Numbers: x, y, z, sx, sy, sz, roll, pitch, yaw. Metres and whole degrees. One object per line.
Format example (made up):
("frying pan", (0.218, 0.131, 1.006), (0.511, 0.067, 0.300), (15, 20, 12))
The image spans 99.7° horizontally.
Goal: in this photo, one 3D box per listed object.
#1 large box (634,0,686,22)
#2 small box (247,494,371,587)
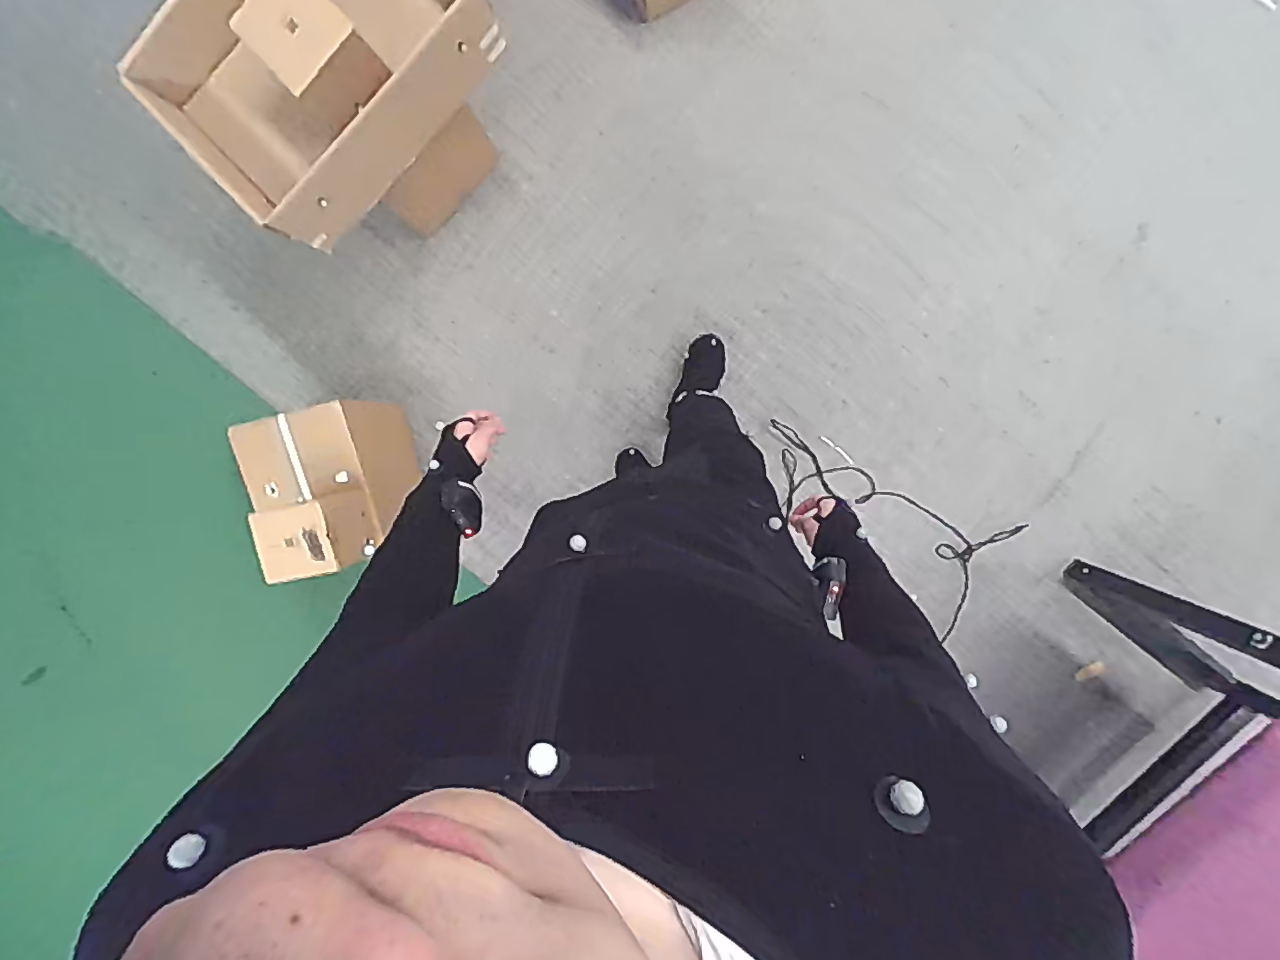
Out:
("large box", (0.113, -1.426, 1.271), (0.408, 0.320, 0.320), (-27, 95, 7))
("small box", (-0.764, 0.134, 1.274), (0.179, 0.176, 0.168), (-11, 96, 4))
